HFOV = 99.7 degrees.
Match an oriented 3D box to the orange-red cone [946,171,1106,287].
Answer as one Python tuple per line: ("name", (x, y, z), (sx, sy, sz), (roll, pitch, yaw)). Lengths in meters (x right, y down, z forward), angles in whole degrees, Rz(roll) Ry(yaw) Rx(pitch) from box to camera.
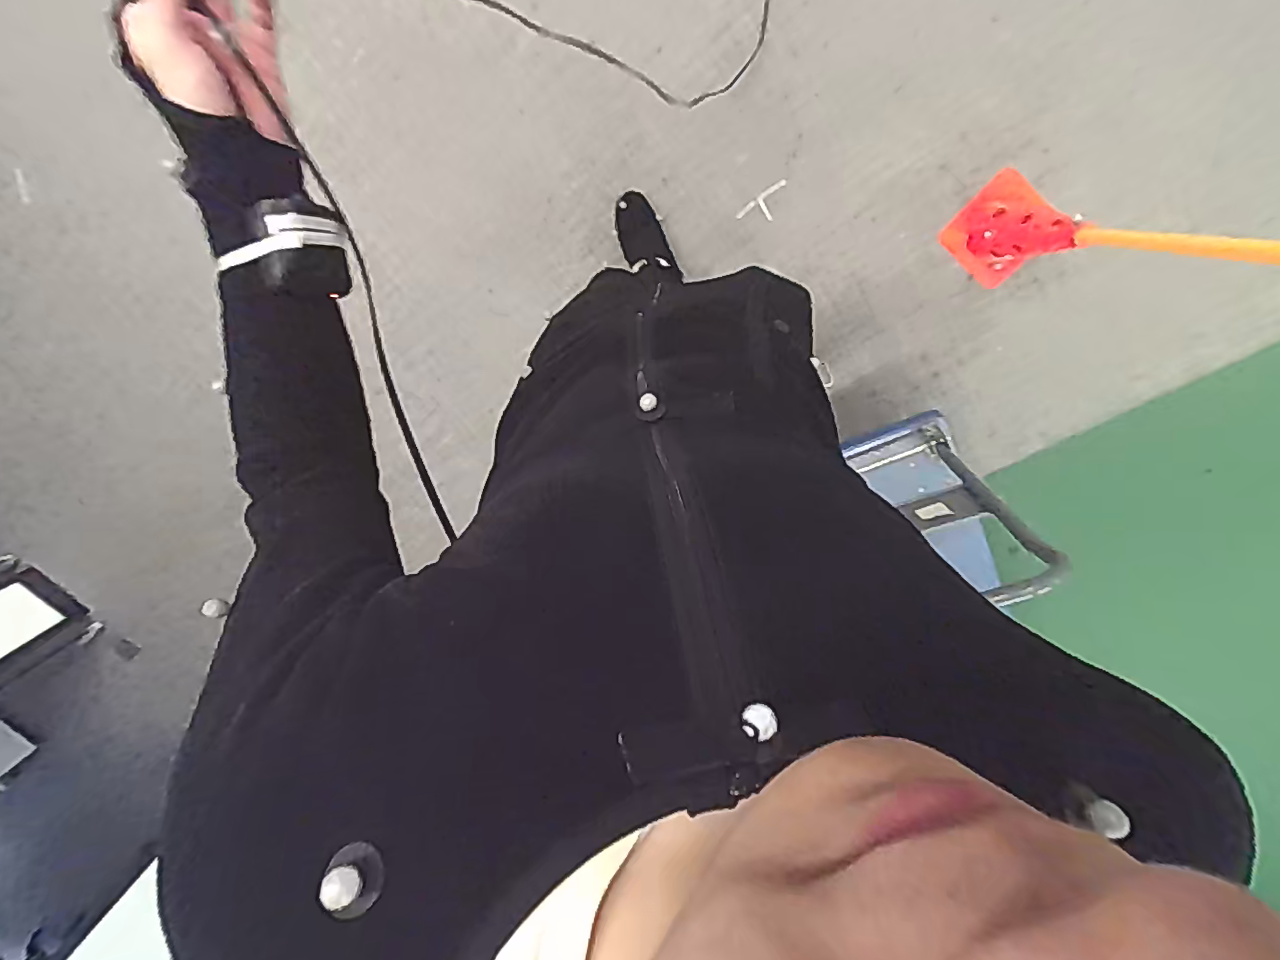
("orange-red cone", (0.837, -0.516, 1.125), (0.198, 0.360, 0.199), (38, 114, -11))
